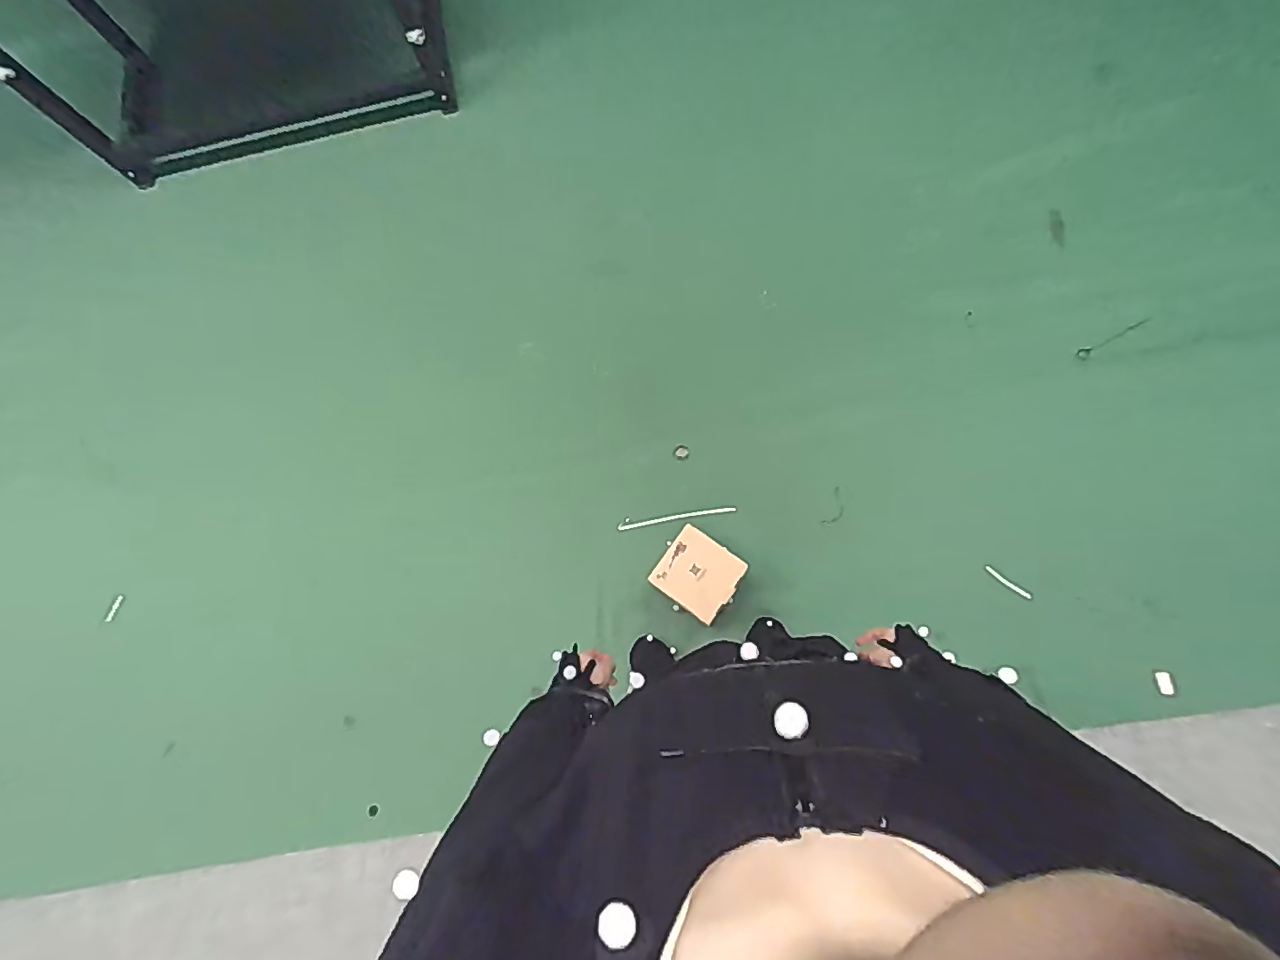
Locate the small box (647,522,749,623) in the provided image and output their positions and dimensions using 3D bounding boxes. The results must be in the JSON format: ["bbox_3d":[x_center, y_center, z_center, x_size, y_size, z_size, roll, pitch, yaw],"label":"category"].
[{"bbox_3d":[0.139,0.225,1.304,0.179,0.176,0.168,35,81,13],"label":"small box"}]
